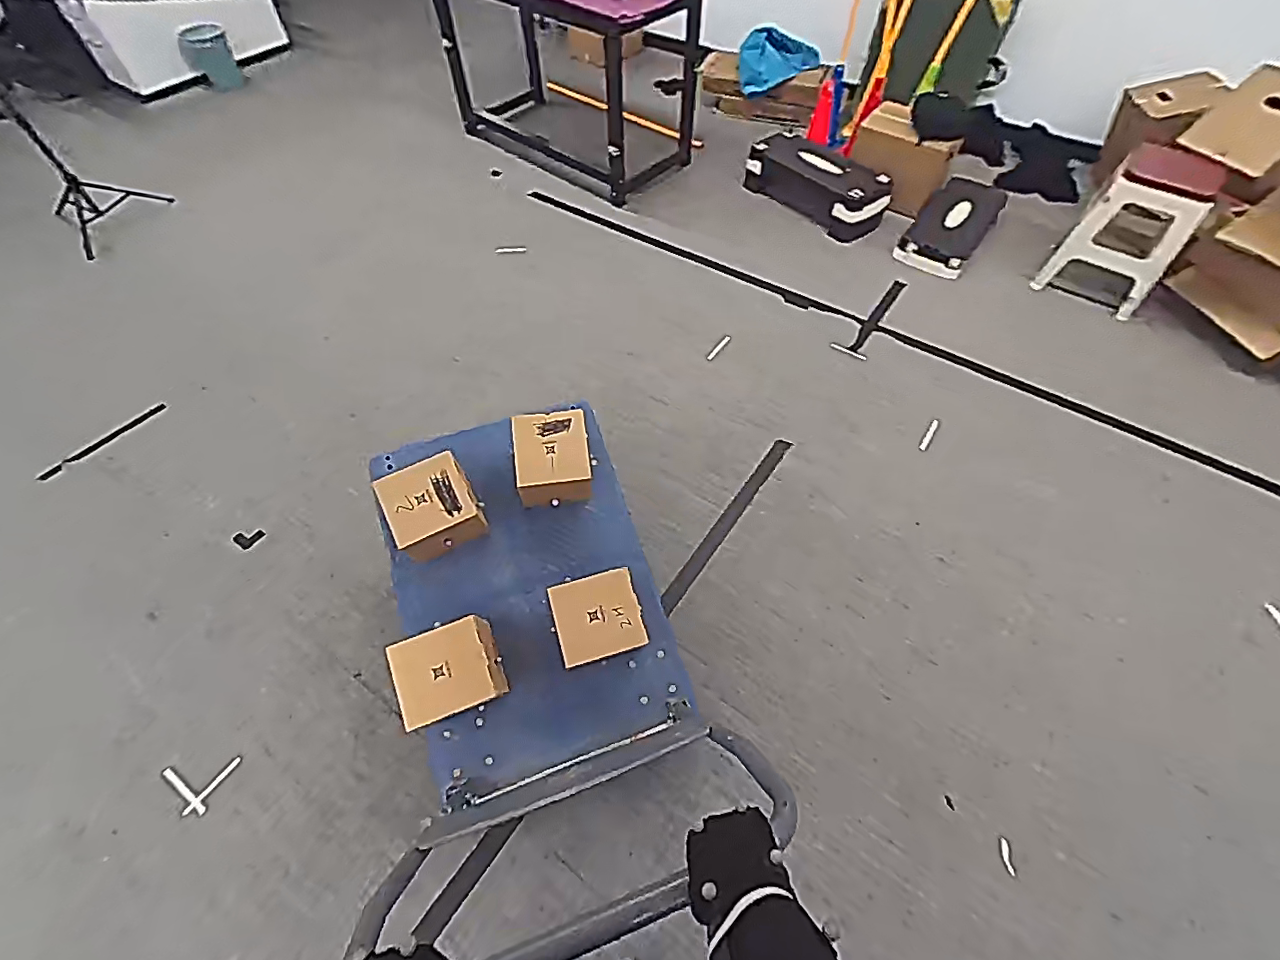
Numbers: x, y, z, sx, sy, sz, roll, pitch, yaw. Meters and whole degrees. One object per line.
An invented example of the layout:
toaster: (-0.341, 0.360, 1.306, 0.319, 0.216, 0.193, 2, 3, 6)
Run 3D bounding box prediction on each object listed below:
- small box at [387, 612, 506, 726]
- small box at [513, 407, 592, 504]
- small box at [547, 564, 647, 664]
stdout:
small box: (-0.391, 0.389, 1.117, 0.179, 0.176, 0.168, -19, 74, -13)
small box: (-0.208, -0.055, 1.290, 0.168, 0.176, 0.179, -7, 73, -8)
small box: (-0.094, 0.297, 1.178, 0.179, 0.176, 0.168, -14, 73, -10)
